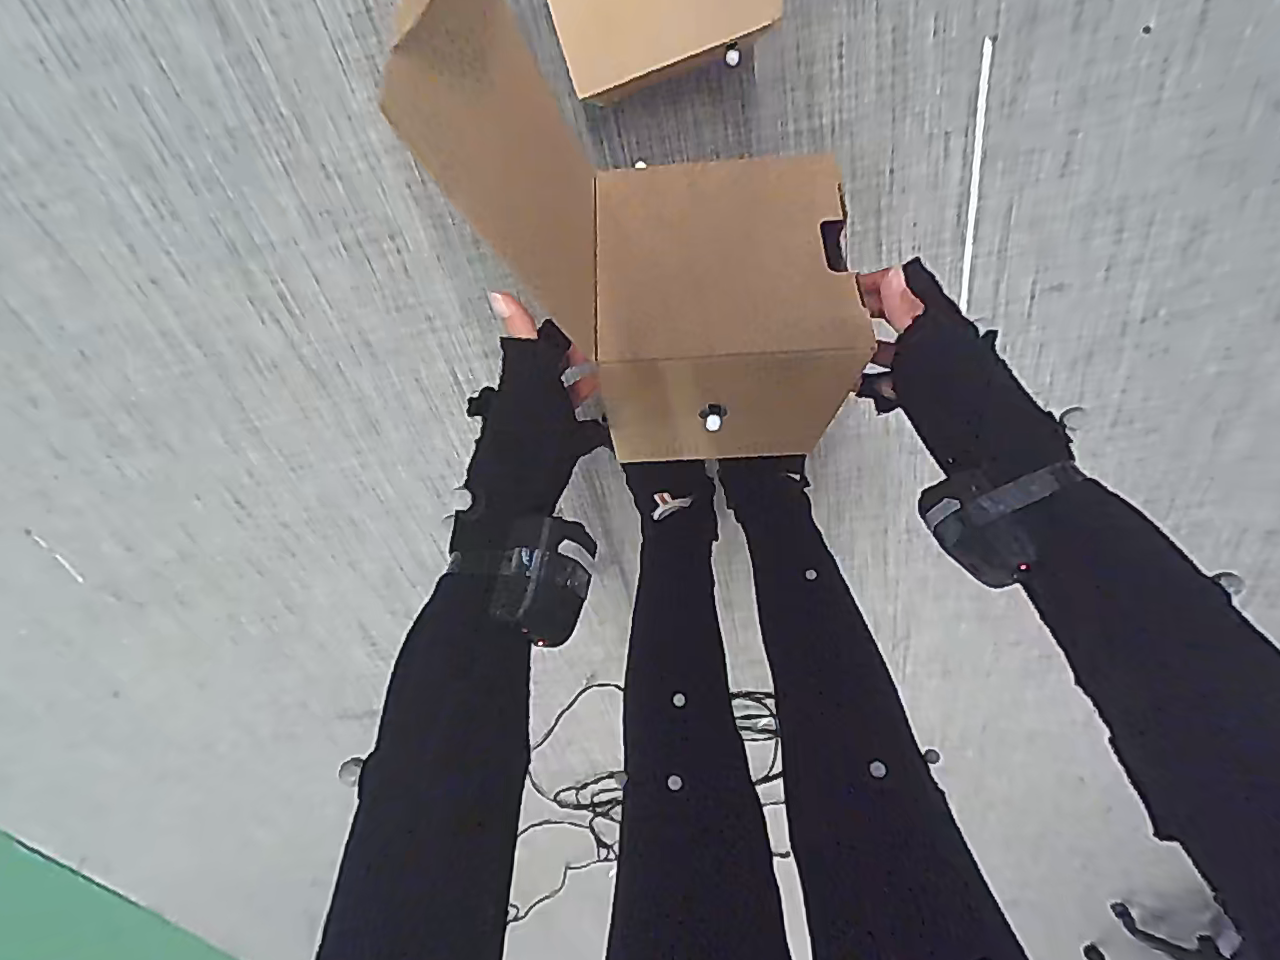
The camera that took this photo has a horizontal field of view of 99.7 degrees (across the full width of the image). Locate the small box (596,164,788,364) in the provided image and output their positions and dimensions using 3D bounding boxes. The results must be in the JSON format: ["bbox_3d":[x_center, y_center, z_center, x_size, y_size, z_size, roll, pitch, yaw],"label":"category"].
[{"bbox_3d":[0.057,-0.241,0.595,0.179,0.176,0.168,-5,123,5],"label":"small box"}]

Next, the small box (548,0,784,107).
[{"bbox_3d":[0.010,-0.446,0.467,0.179,0.176,0.168,-15,121,10],"label":"small box"}]
